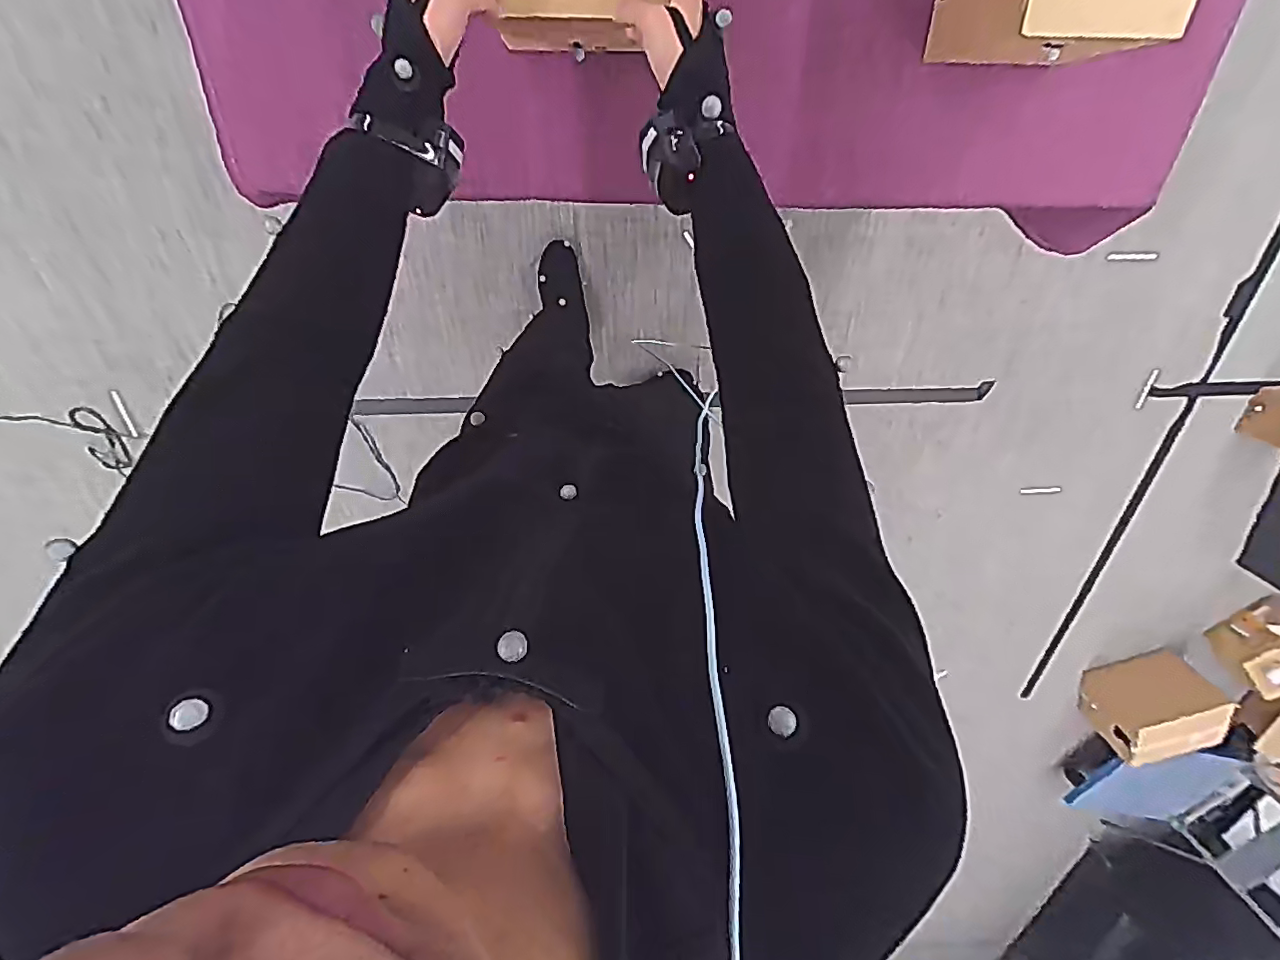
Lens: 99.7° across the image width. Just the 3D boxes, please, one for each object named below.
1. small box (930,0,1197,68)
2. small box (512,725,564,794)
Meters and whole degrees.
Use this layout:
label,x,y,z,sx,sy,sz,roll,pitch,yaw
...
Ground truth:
label,x,y,z,sx,sy,sz,roll,pitch,yaw
small box,0.436,-0.535,0.551,0.179,0.176,0.168,-3,121,-5
small box,-0.383,1.056,2.048,0.179,0.176,0.168,0,118,-6
